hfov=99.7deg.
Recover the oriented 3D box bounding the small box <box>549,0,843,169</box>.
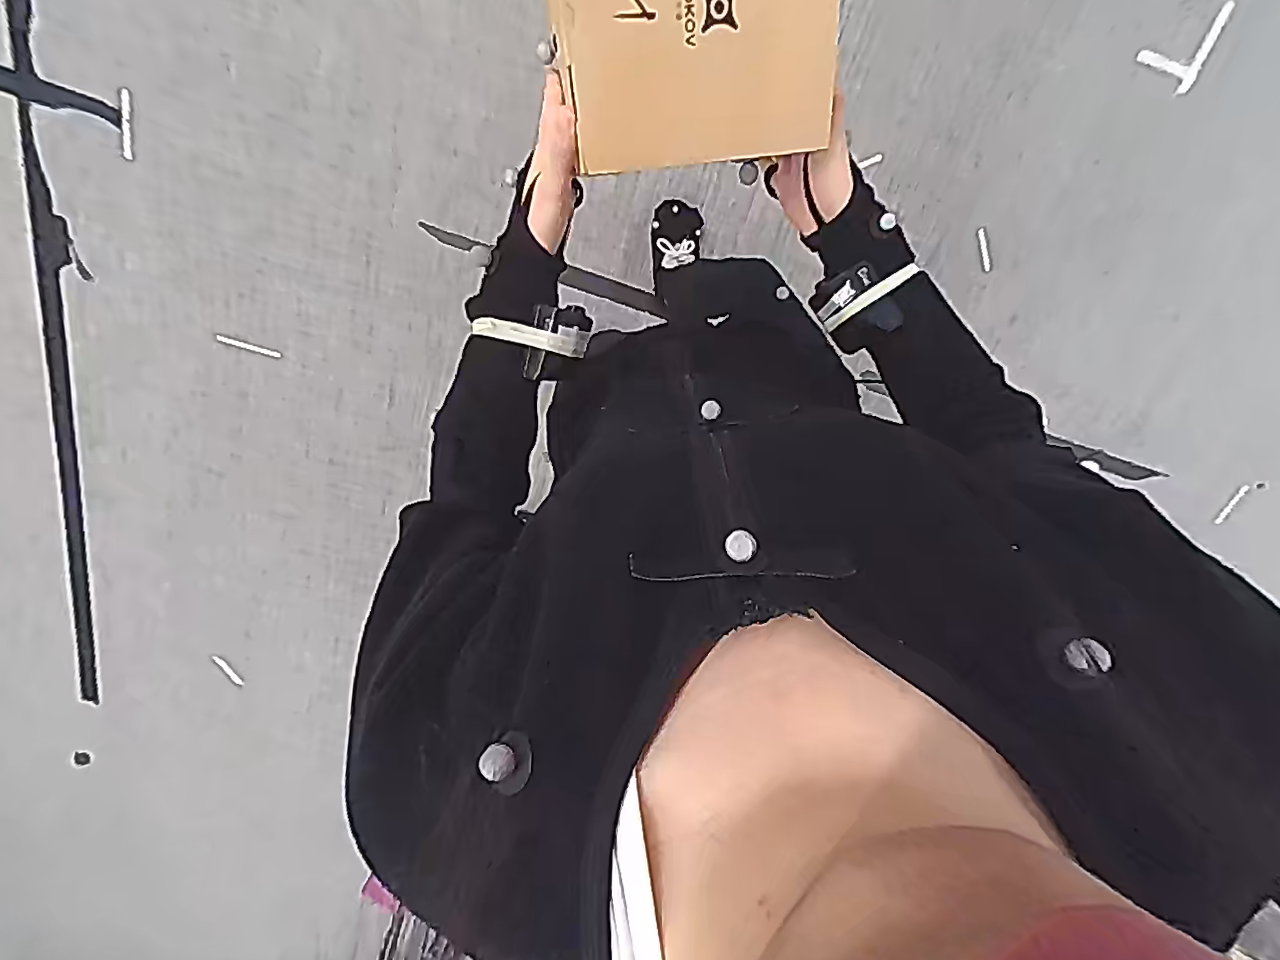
[{"bbox_3d":[0.028,-0.330,0.393,0.179,0.176,0.168,-9,121,-5],"label":"small box"}]

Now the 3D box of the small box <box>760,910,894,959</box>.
[{"bbox_3d":[0.321,0.848,0.883,0.179,0.176,0.168,16,110,-8],"label":"small box"}]
